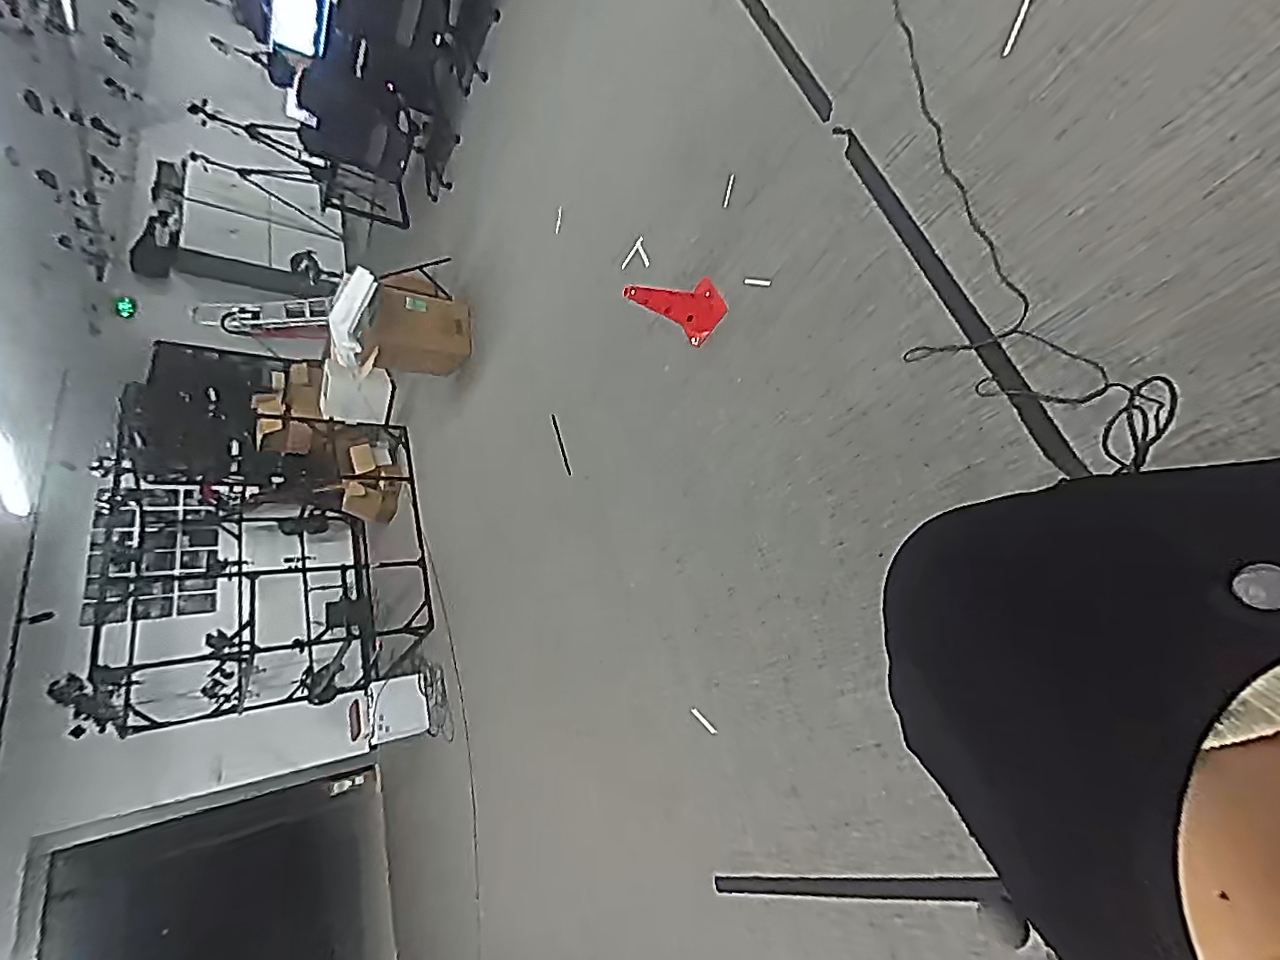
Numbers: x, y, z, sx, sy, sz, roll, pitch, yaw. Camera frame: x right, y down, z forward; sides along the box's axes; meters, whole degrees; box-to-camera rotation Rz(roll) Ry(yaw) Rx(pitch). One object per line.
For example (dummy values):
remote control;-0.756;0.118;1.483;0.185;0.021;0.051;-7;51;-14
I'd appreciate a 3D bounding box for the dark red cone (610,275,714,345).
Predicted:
dark red cone;0.064;-0.641;1.926;0.201;0.394;0.202;-49;52;38
